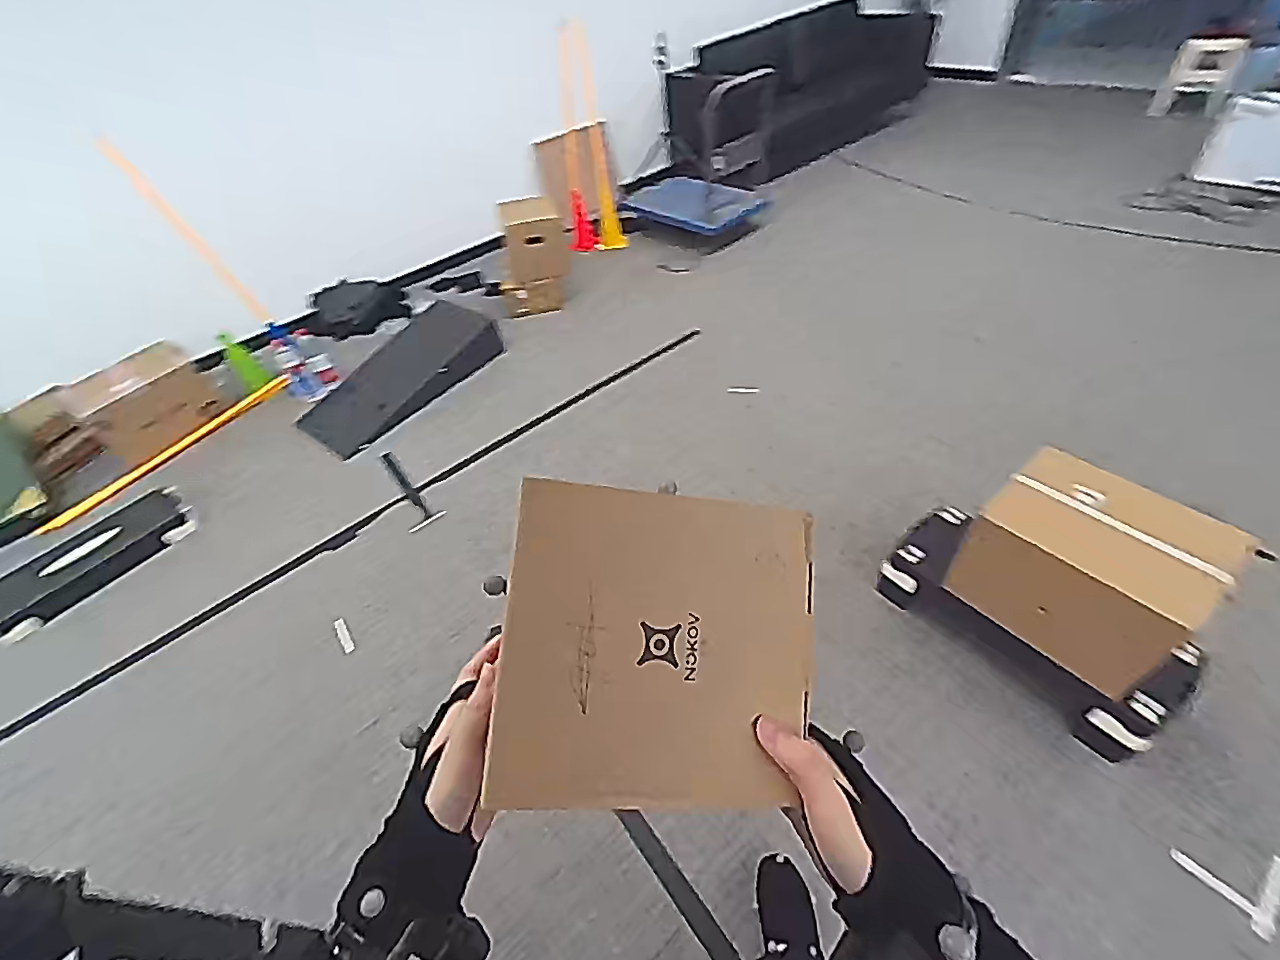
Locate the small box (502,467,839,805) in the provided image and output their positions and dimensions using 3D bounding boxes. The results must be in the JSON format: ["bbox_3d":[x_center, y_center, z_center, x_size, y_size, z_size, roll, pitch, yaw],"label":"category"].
[{"bbox_3d":[0.008,0.097,0.369,0.179,0.176,0.168,9,78,-11],"label":"small box"}]

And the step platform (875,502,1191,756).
[{"bbox_3d":[0.991,0.351,1.446,0.286,0.204,0.684,-29,47,-18],"label":"step platform"}]

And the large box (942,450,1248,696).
[{"bbox_3d":[1.008,0.202,1.252,0.320,0.320,0.408,-33,48,-22],"label":"large box"}]
